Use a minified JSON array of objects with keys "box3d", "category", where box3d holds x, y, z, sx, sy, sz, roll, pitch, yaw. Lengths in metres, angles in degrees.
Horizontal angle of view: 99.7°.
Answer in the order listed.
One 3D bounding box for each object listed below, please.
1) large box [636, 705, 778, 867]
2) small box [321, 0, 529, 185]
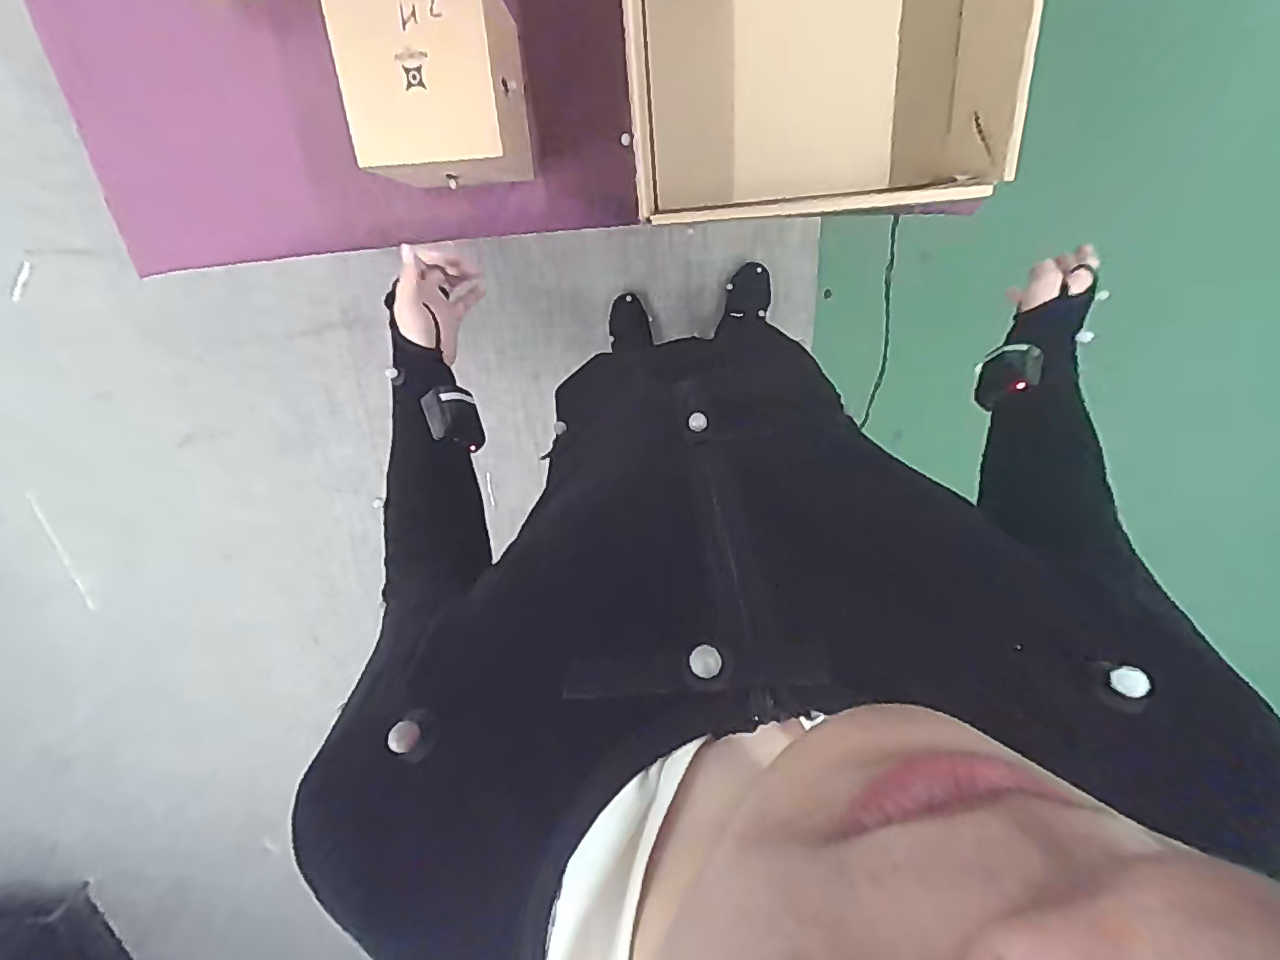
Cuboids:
[{"box3d":[0.232,1.128,2.009,0.408,0.320,0.320,-35,109,13],"category":"large box"},{"box3d":[-0.236,-0.458,0.642,0.168,0.176,0.179,-3,111,1],"category":"small box"}]
